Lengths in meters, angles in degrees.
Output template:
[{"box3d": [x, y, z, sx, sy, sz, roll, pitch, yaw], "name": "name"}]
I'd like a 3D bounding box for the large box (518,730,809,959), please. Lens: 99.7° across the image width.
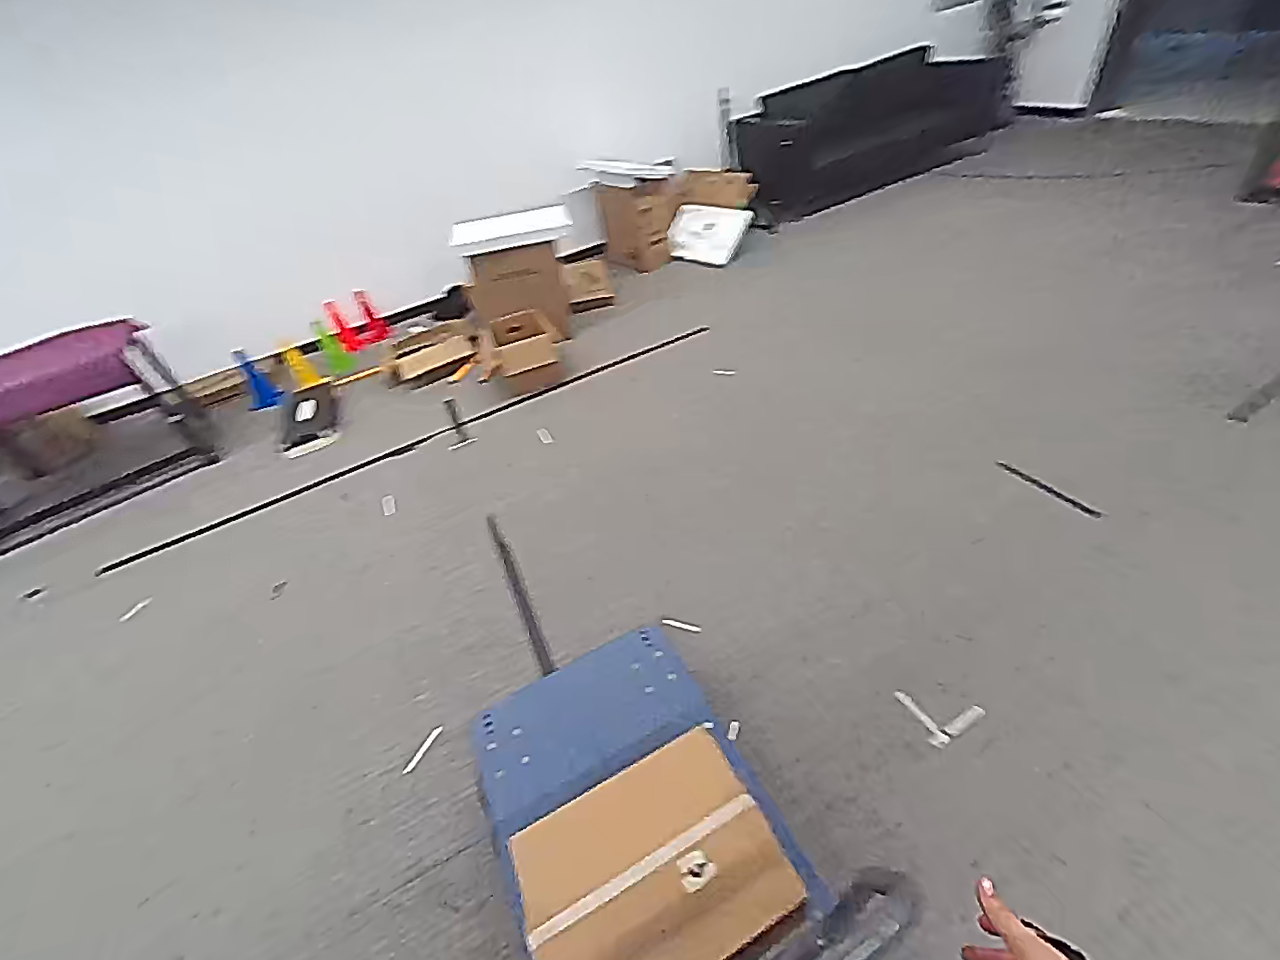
[{"box3d": [0.045, 0.756, 0.983, 0.408, 0.320, 0.320, -24, 41, -14], "name": "large box"}]
